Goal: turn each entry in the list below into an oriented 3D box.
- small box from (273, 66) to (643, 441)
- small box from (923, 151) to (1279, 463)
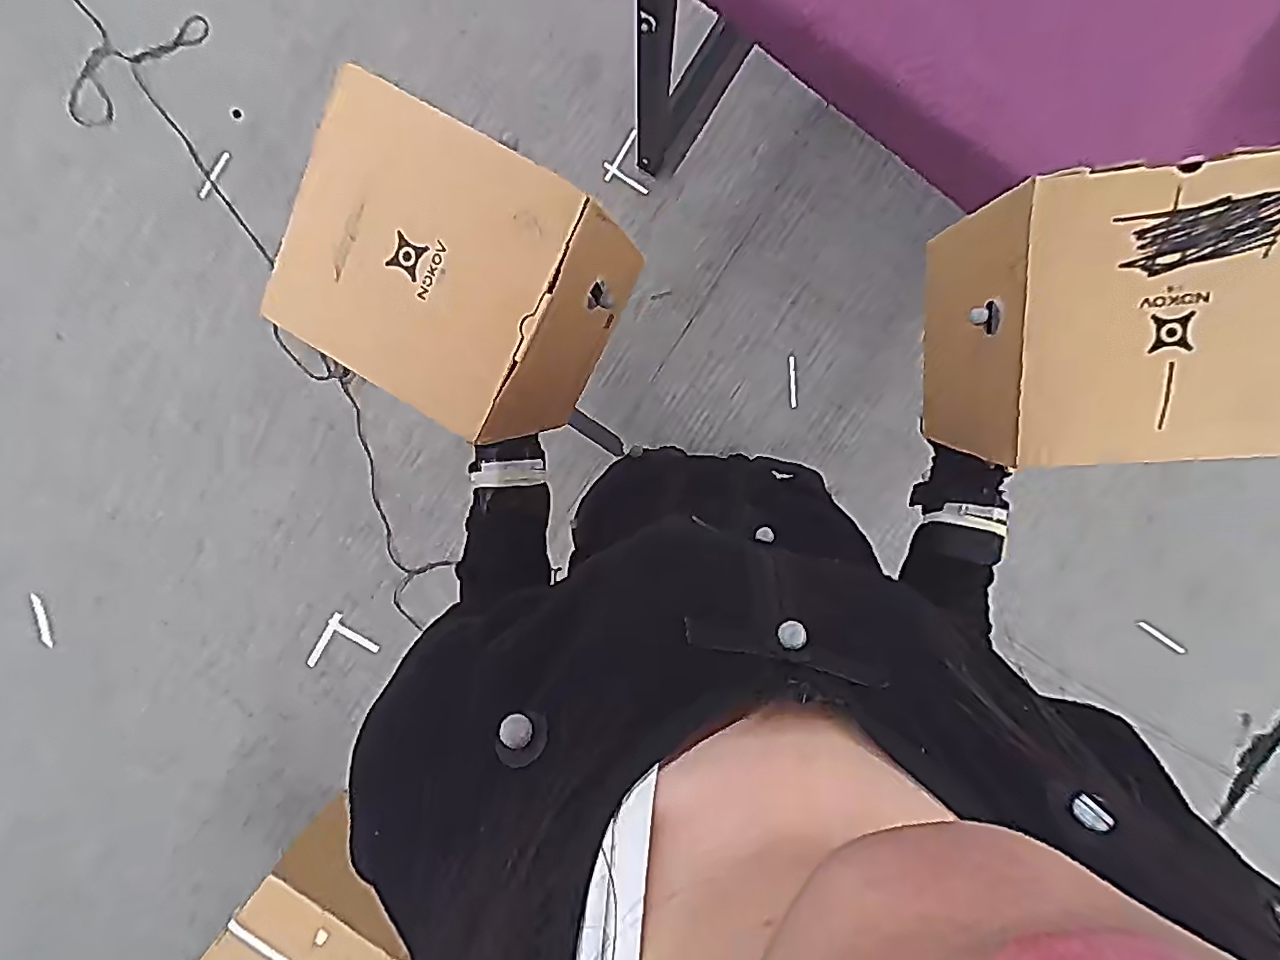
[{"bbox_3d":[-0.117,-0.149,0.409,0.179,0.176,0.168,30,103,6],"label":"small box"},{"bbox_3d":[0.328,-0.114,0.403,0.168,0.176,0.179,-2,102,9],"label":"small box"}]
